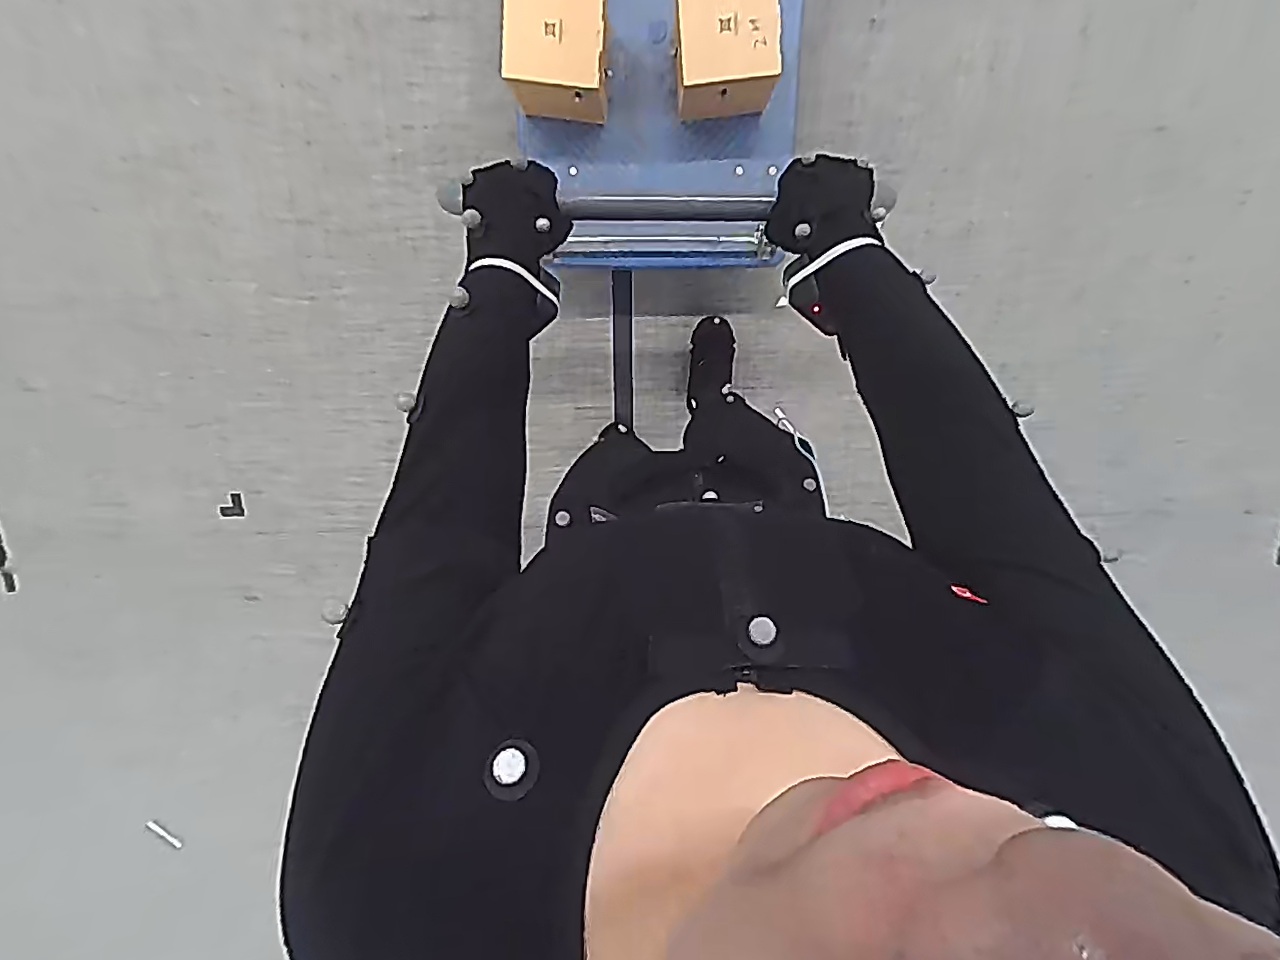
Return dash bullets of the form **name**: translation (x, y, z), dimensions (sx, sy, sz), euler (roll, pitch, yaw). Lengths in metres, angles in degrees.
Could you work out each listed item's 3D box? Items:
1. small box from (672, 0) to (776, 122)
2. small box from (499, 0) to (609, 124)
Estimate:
- **small box**: translation (0.151, -0.801, 1.017), dimensions (0.179, 0.176, 0.168), euler (-4, 105, 3)
- **small box**: translation (-0.156, -0.801, 1.023), dimensions (0.179, 0.176, 0.168), euler (6, 105, -2)
